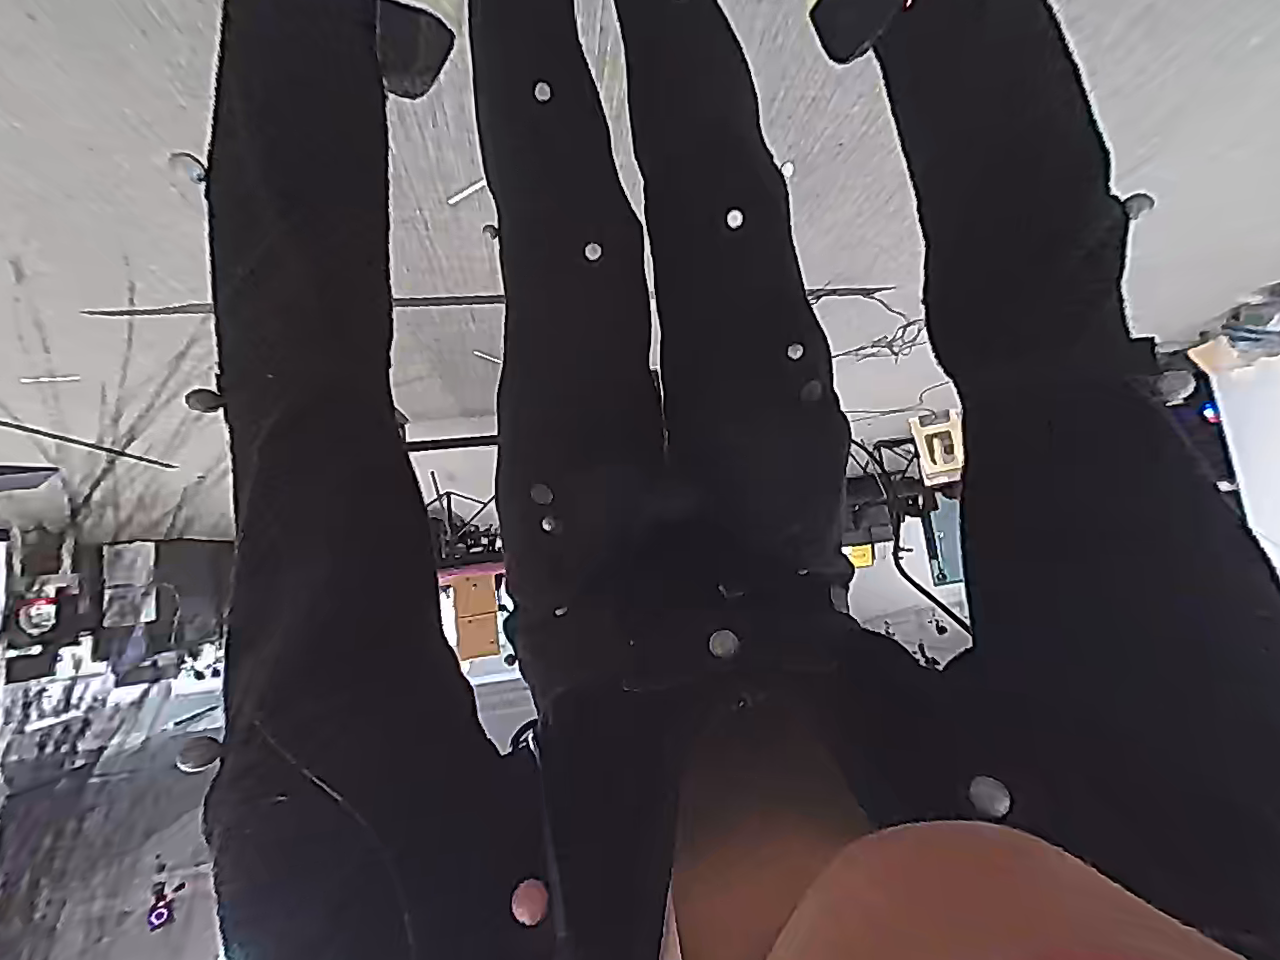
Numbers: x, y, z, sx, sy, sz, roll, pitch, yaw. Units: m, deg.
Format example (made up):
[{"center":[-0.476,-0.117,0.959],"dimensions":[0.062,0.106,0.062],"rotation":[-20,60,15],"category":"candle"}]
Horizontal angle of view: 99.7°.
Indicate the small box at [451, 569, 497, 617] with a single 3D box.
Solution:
[{"center":[-0.684,0.462,2.226],"dimensions":[0.168,0.176,0.179],"rotation":[-6,173,-17],"category":"small box"}]
